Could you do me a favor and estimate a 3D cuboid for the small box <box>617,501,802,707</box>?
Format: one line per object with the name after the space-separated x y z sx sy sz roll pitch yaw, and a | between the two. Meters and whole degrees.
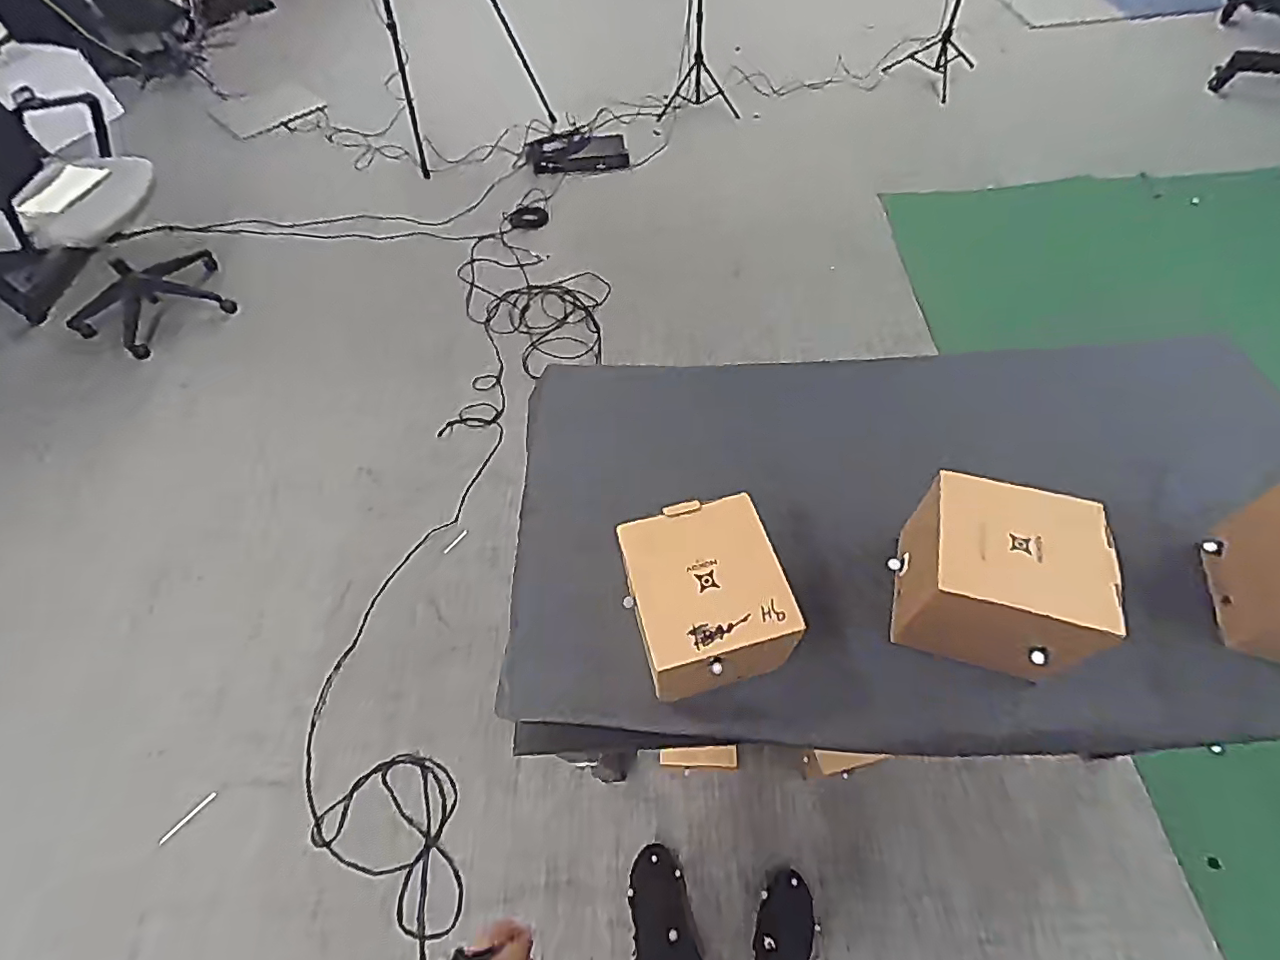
0.074 0.155 0.662 0.168 0.176 0.179 -15 57 -5 | small box

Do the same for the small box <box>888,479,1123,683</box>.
0.421 0.127 0.653 0.179 0.176 0.168 12 56 14 | small box

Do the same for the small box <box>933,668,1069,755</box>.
0.809 0.521 1.233 0.168 0.176 0.179 -8 57 -1 | small box

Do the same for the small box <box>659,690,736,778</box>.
0.133 0.585 1.253 0.168 0.176 0.179 -1 56 5 | small box

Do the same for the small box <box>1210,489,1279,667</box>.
0.815 0.123 0.616 0.179 0.176 0.168 14 57 15 | small box
